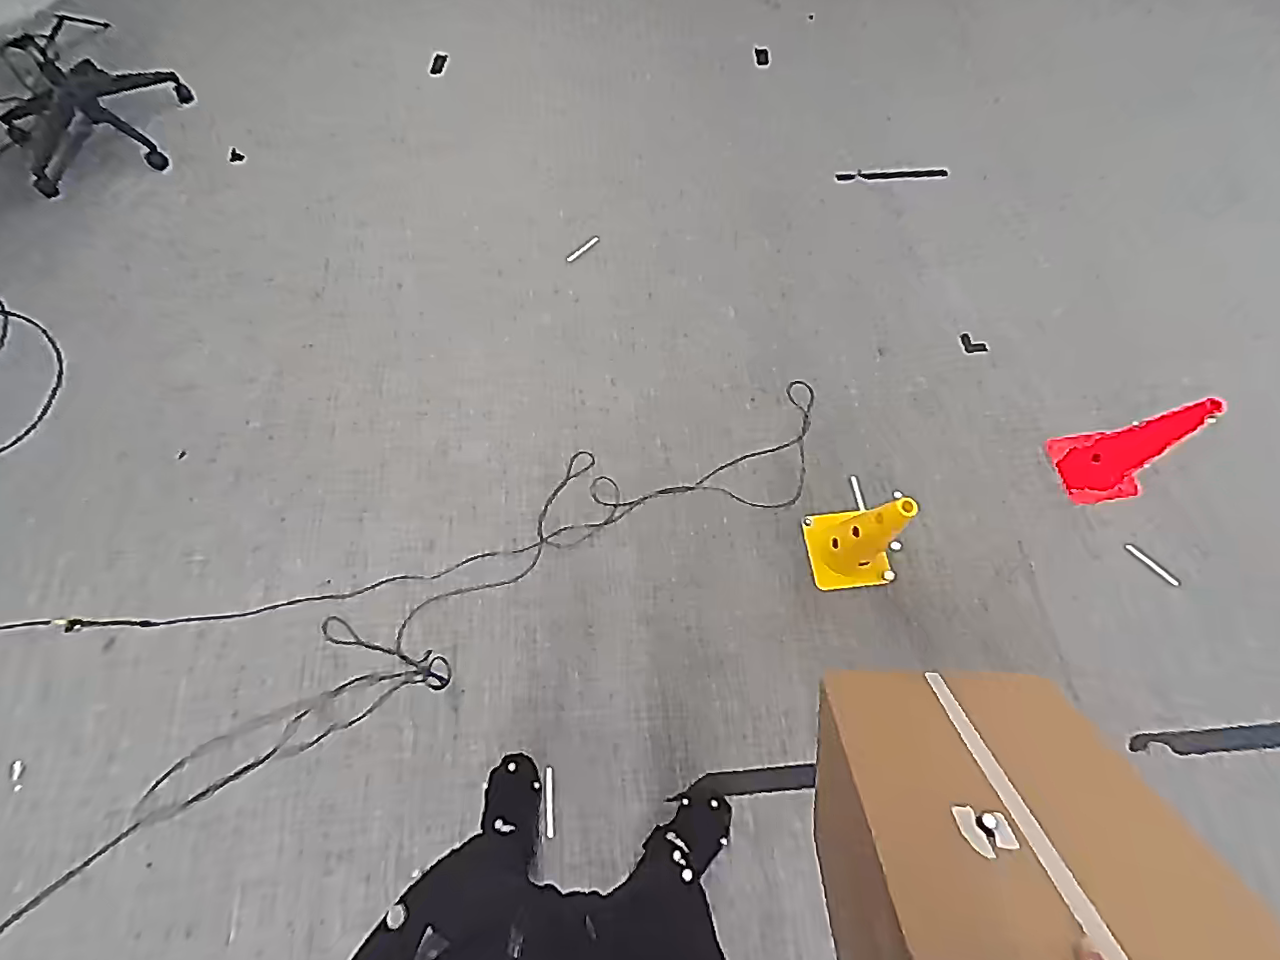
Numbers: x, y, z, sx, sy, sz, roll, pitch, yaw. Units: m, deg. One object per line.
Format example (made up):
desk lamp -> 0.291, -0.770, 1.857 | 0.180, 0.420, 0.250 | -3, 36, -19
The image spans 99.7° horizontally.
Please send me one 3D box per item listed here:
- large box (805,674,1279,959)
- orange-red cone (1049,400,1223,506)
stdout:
large box -> 0.396, 0.489, 0.644 | 0.320, 0.408, 0.320 | -1, 106, 7
orange-red cone -> 1.255, -0.092, 1.340 | 0.199, 0.360, 0.198 | -8, 68, -1
